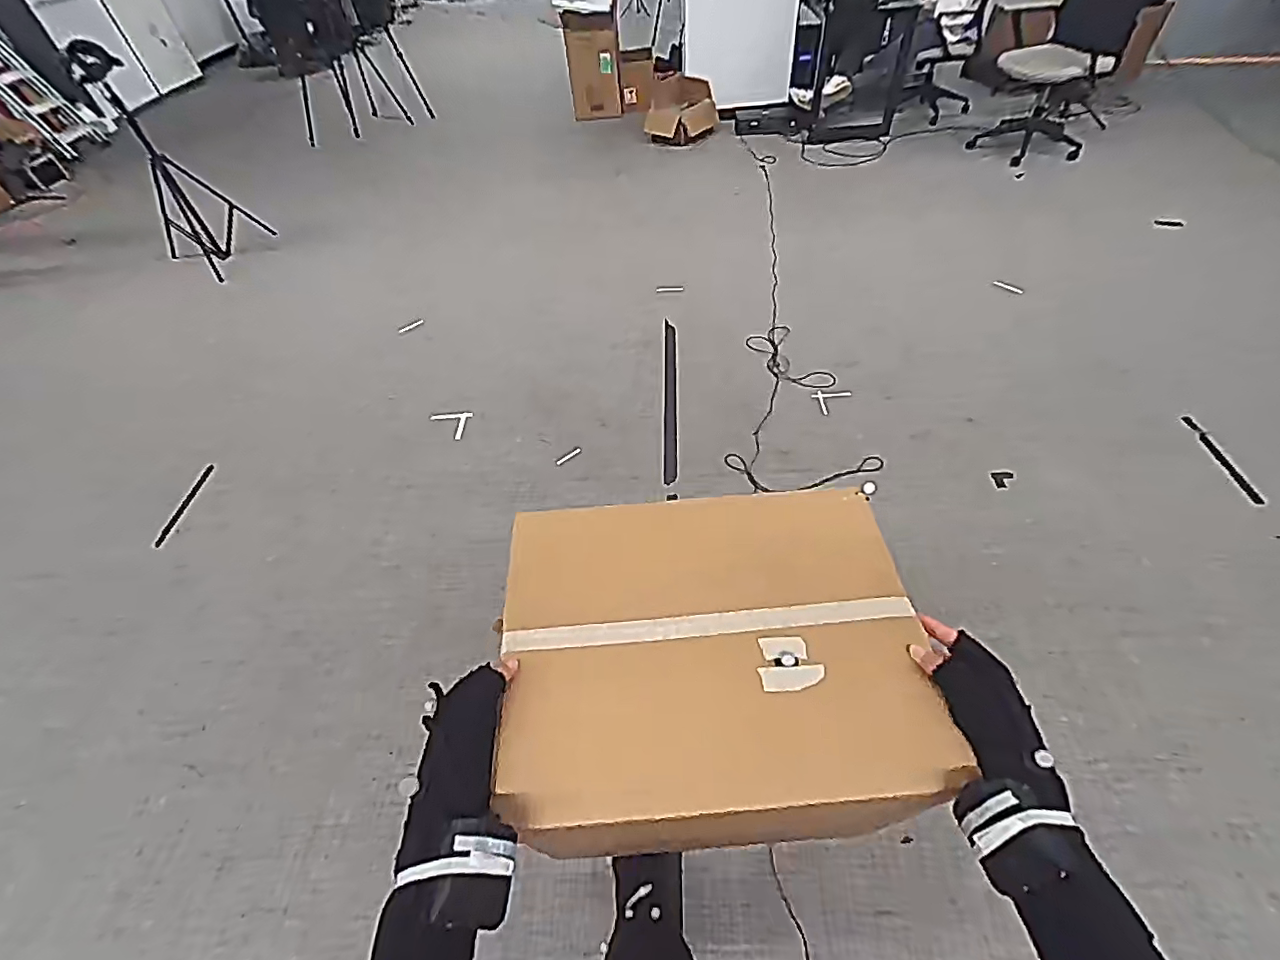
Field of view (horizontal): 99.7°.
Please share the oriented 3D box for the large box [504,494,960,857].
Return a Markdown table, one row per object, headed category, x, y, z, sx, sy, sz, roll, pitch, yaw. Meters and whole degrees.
| category | x | y | z | sx | sy | sz | roll | pitch | yaw |
| --- | --- | --- | --- | --- | --- | --- | --- | --- | --- |
| large box | 0.072 | 0.246 | 0.666 | 0.408 | 0.320 | 0.320 | -5 | 52 | -1 |
